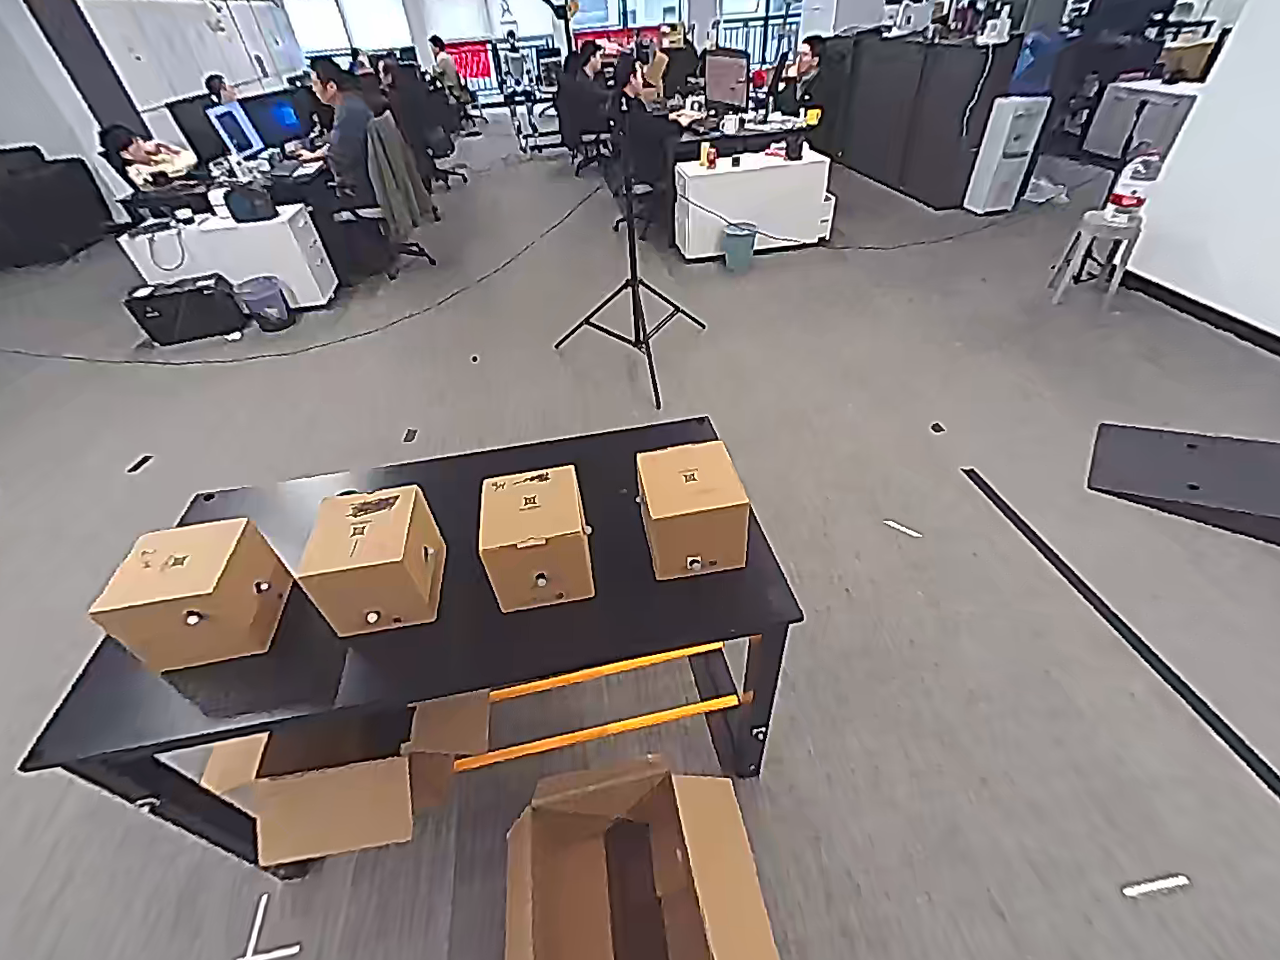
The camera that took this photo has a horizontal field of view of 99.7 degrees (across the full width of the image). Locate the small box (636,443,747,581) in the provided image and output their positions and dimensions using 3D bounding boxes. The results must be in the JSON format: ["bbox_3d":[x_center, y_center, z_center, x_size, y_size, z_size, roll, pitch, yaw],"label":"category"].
[{"bbox_3d":[0.089,0.058,0.995,0.168,0.176,0.179,-10,42,-4],"label":"small box"}]

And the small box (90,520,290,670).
[{"bbox_3d":[-0.734,0.195,0.913,0.179,0.176,0.168,-10,41,-6],"label":"small box"}]

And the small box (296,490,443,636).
[{"bbox_3d":[-0.456,0.145,0.947,0.168,0.176,0.179,-9,42,-4],"label":"small box"}]

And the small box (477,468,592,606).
[{"bbox_3d":[-0.183,0.107,0.966,0.168,0.176,0.179,-10,42,-5],"label":"small box"}]
